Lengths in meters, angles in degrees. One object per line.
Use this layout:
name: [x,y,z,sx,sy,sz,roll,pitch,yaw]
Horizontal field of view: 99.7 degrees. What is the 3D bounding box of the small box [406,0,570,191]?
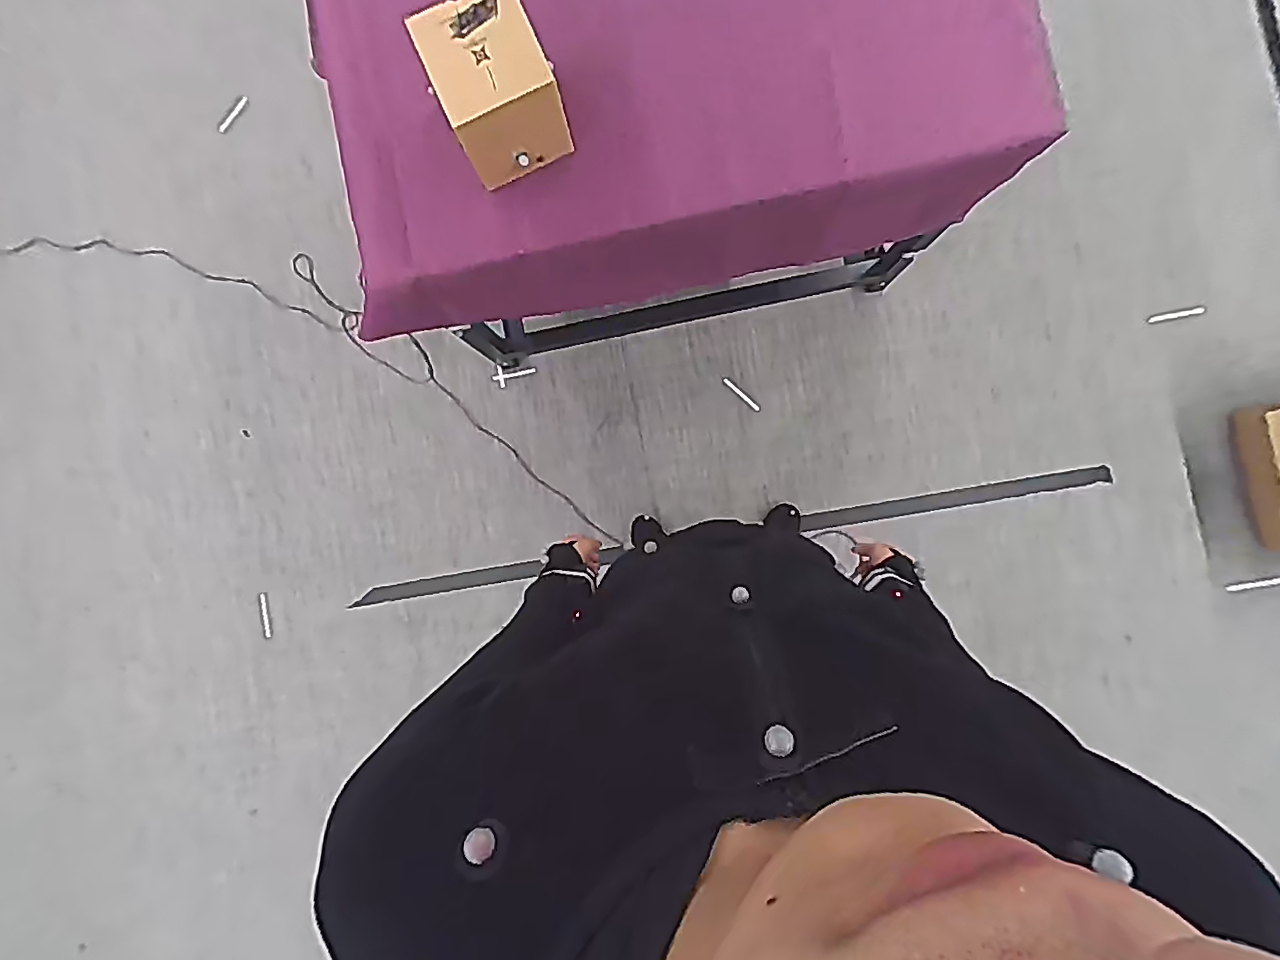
small box: [-0.227,-0.604,0.851,0.168,0.176,0.179,-25,88,3]
